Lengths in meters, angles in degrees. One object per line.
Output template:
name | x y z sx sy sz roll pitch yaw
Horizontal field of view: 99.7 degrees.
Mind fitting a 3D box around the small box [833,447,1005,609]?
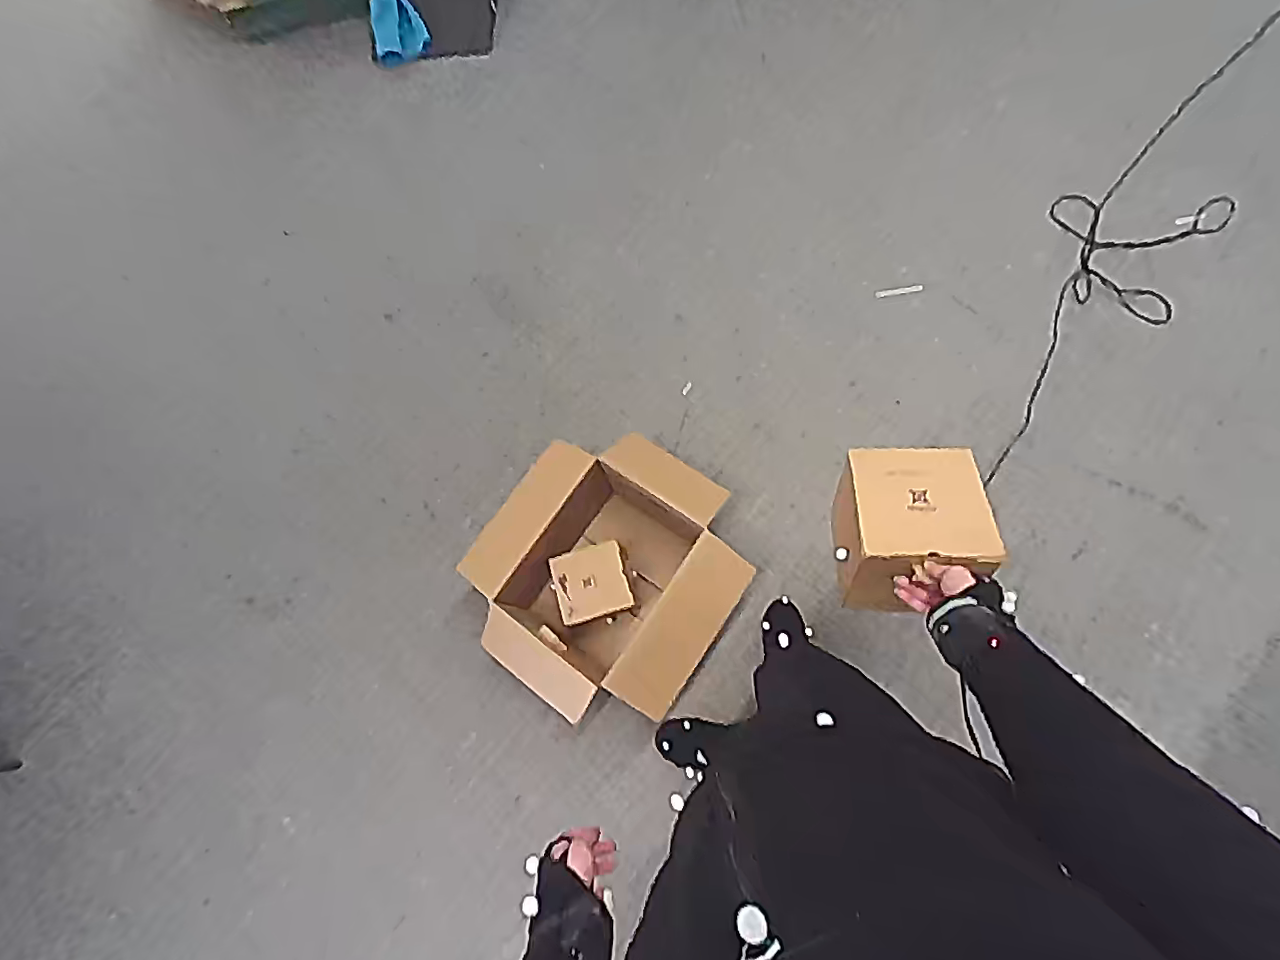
small box | 0.382 0.072 0.779 0.168 0.176 0.179 1 52 9
